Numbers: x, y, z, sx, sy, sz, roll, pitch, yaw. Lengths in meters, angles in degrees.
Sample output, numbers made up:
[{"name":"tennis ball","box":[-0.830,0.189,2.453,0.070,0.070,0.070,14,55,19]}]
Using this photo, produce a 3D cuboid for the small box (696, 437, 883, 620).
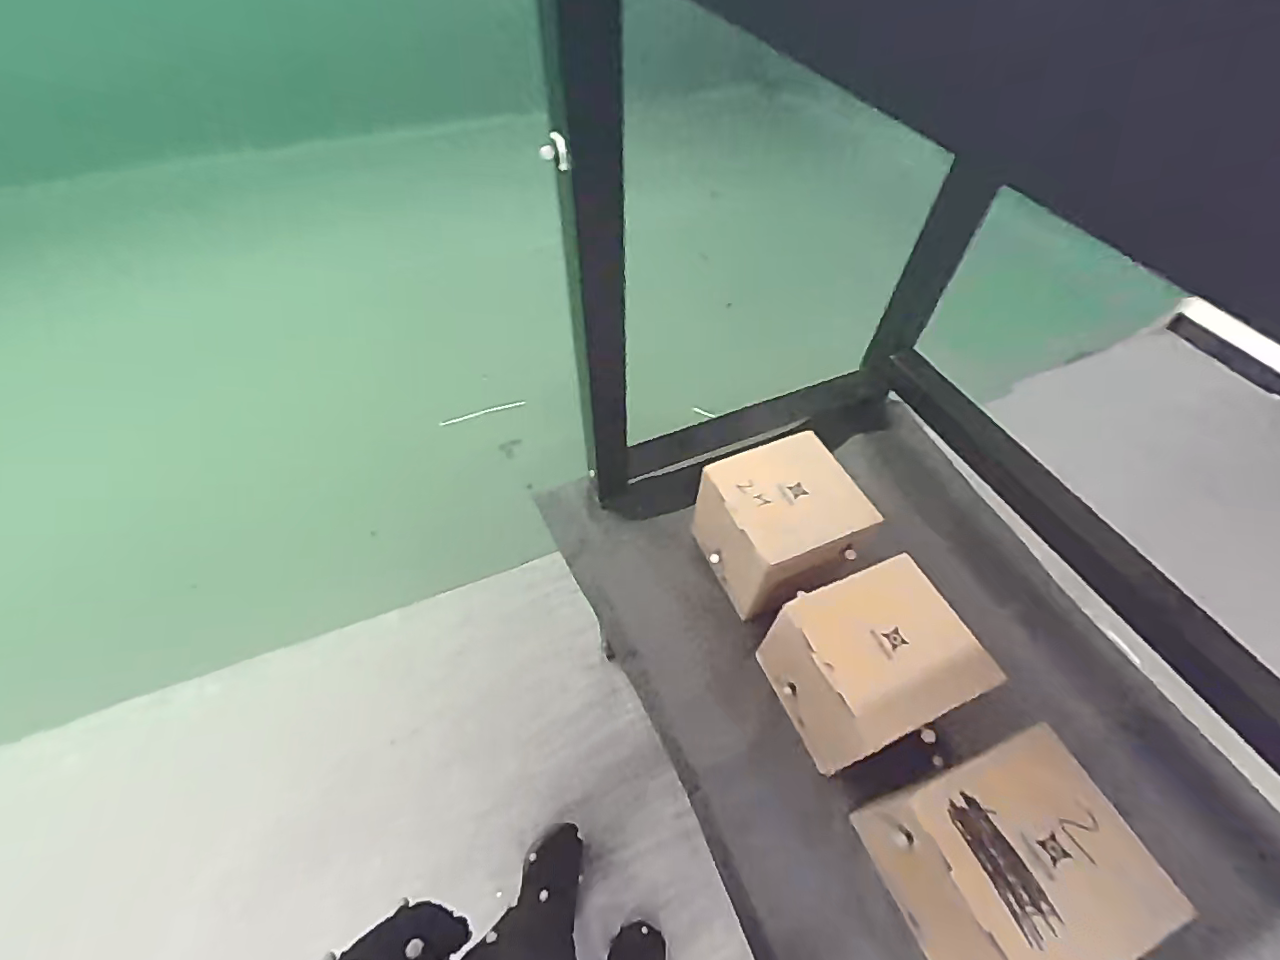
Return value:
[{"name":"small box","box":[0.196,0.071,0.767,0.179,0.176,0.168,-18,56,-15]}]

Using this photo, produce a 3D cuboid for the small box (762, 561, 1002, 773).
[{"name":"small box","box":[0.272,0.229,0.656,0.179,0.176,0.168,-19,57,-14]}]
